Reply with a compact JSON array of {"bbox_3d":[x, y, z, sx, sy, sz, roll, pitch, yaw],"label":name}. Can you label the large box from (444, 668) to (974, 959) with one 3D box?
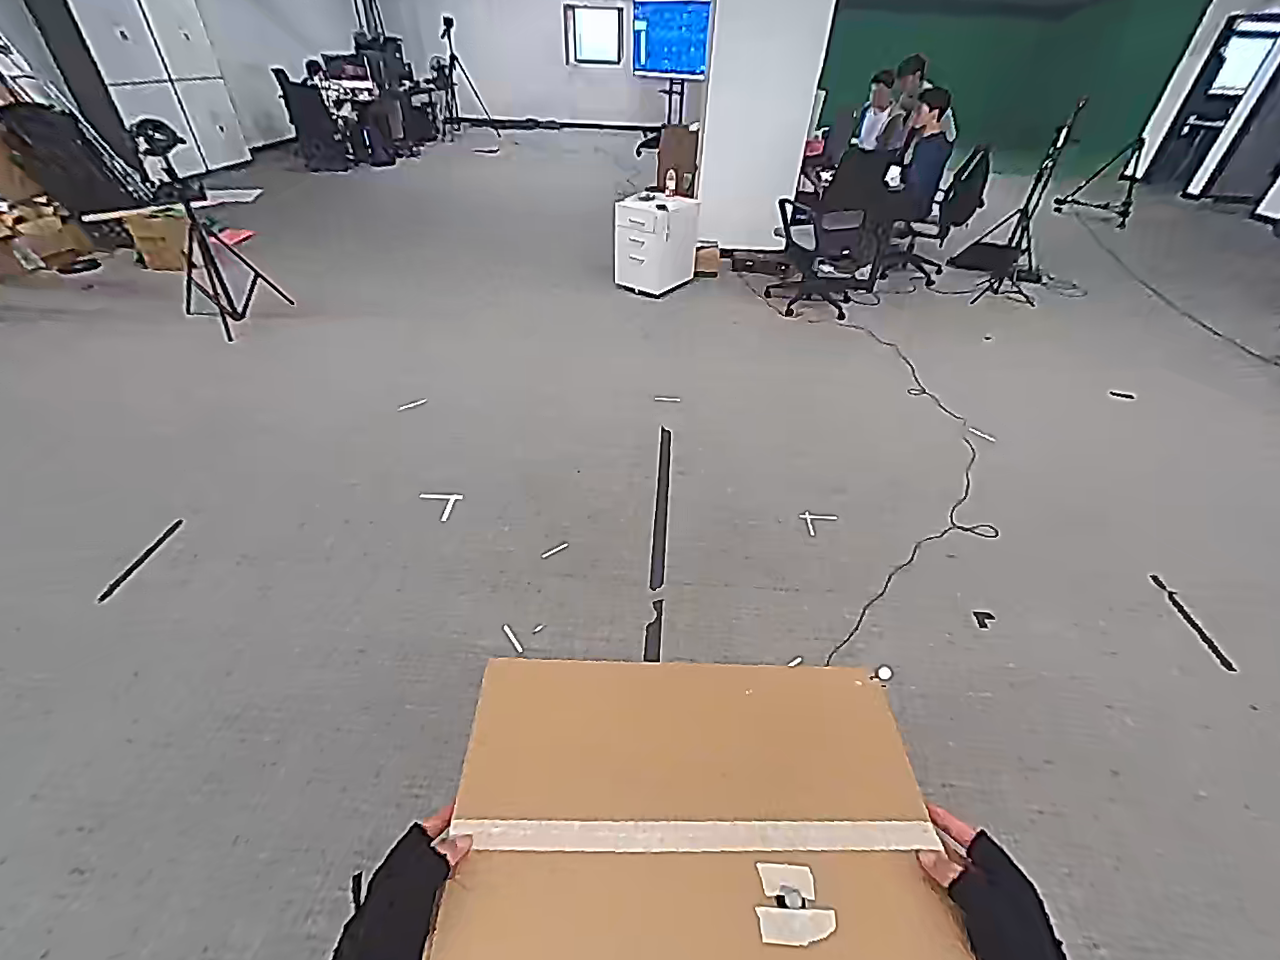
[{"bbox_3d":[0.042,0.413,0.555,0.408,0.320,0.320,2,42,-3],"label":"large box"}]
